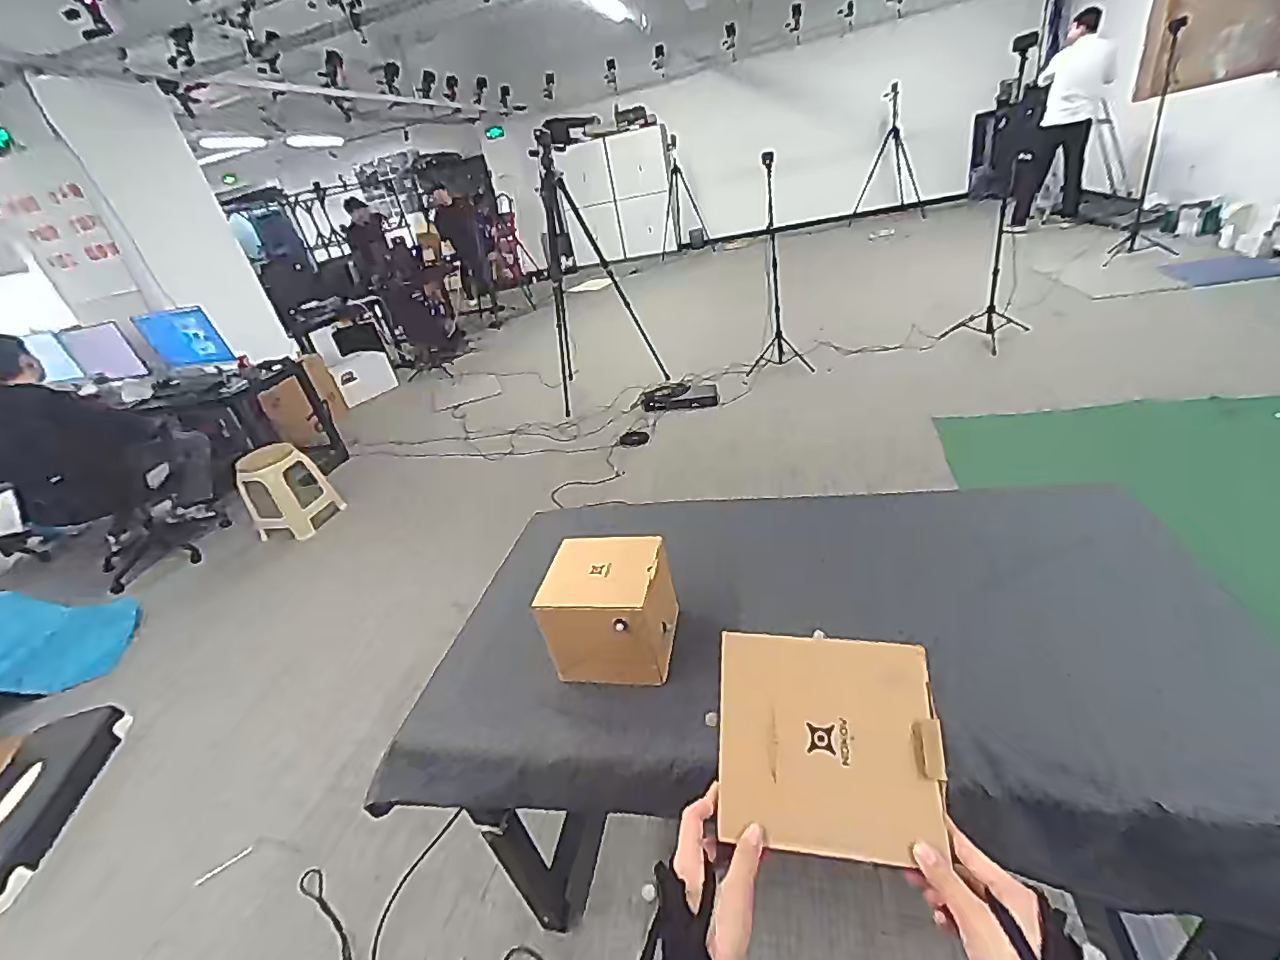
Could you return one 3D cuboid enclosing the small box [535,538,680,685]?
[{"bbox_3d":[-0.043,0.212,0.880,0.179,0.176,0.168,-4,30,15],"label":"small box"}]

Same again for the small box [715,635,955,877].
[{"bbox_3d":[0.165,0.252,0.512,0.179,0.176,0.168,0,62,11],"label":"small box"}]
